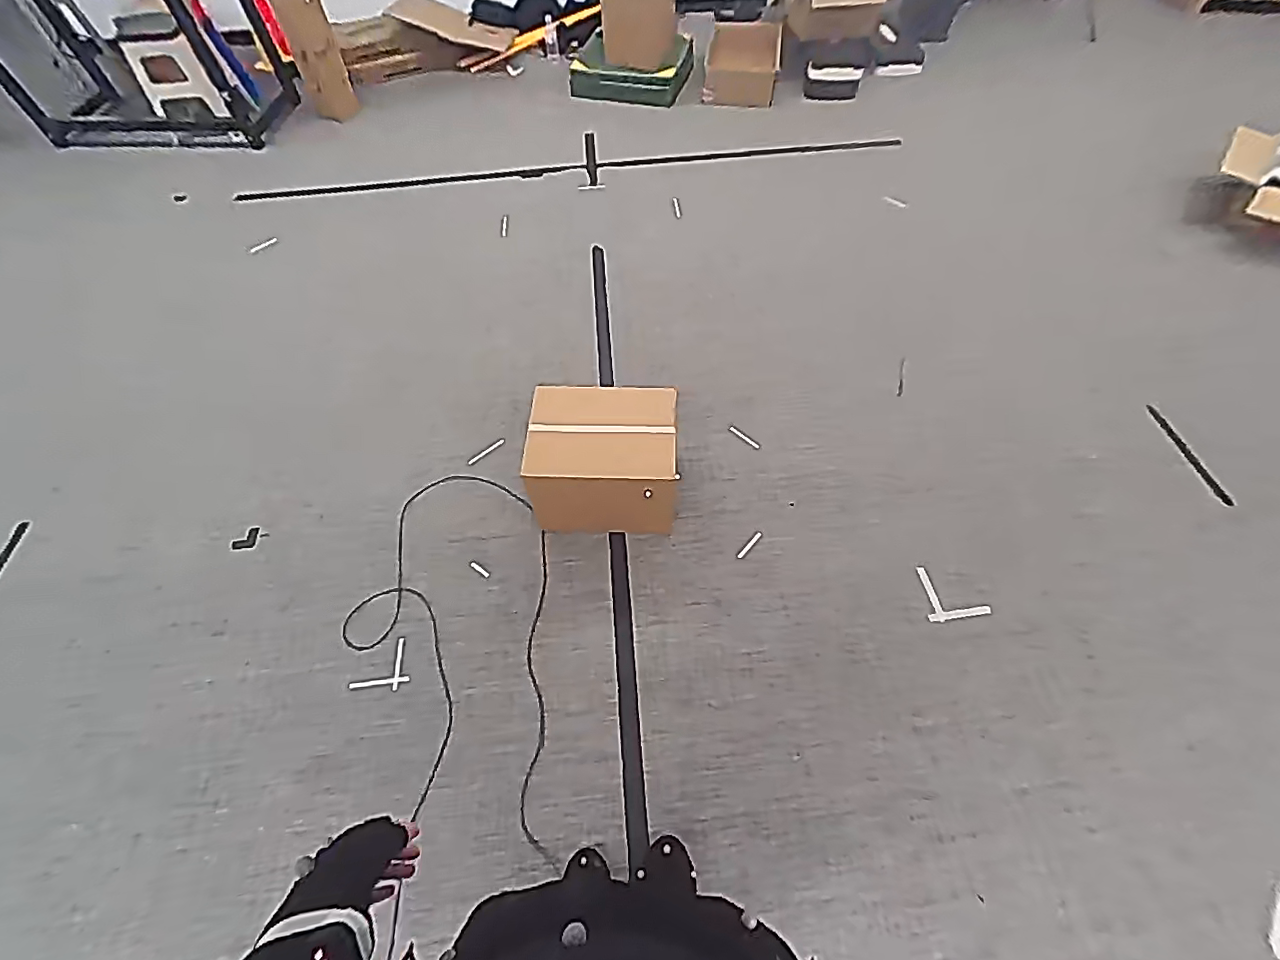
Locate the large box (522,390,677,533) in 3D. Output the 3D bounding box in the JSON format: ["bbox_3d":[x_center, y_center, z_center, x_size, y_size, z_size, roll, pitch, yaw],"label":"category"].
[{"bbox_3d":[-0.100,-0.047,1.589,0.408,0.320,0.320,1,57,1],"label":"large box"}]
